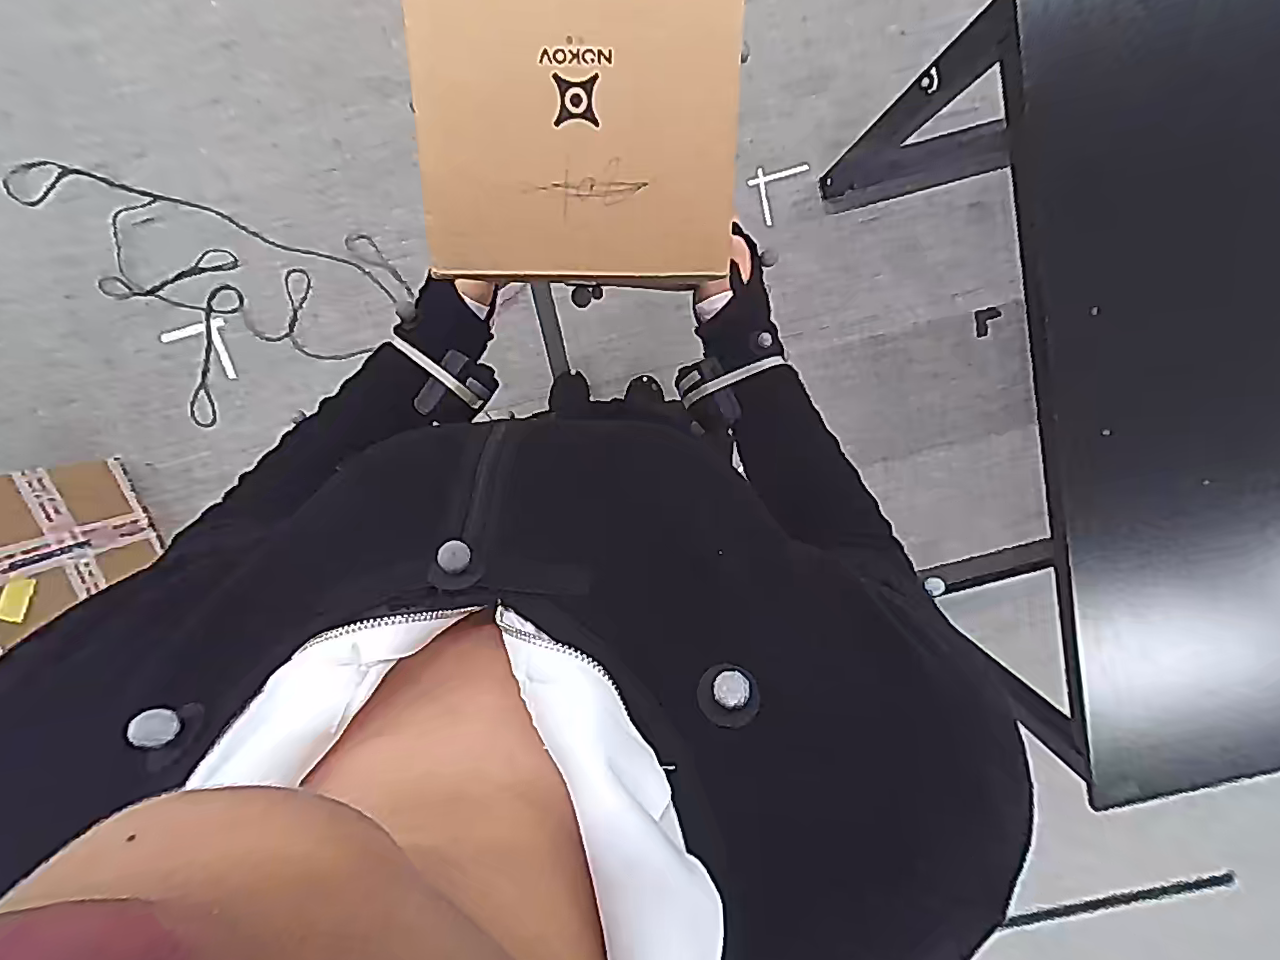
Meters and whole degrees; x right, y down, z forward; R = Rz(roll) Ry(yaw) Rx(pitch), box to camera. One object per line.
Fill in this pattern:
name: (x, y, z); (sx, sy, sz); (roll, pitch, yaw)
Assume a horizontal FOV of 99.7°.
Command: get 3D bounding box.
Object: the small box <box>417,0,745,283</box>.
small box: (-0.030, -0.225, 0.355); (0.168, 0.176, 0.179); (0, 109, 0)
